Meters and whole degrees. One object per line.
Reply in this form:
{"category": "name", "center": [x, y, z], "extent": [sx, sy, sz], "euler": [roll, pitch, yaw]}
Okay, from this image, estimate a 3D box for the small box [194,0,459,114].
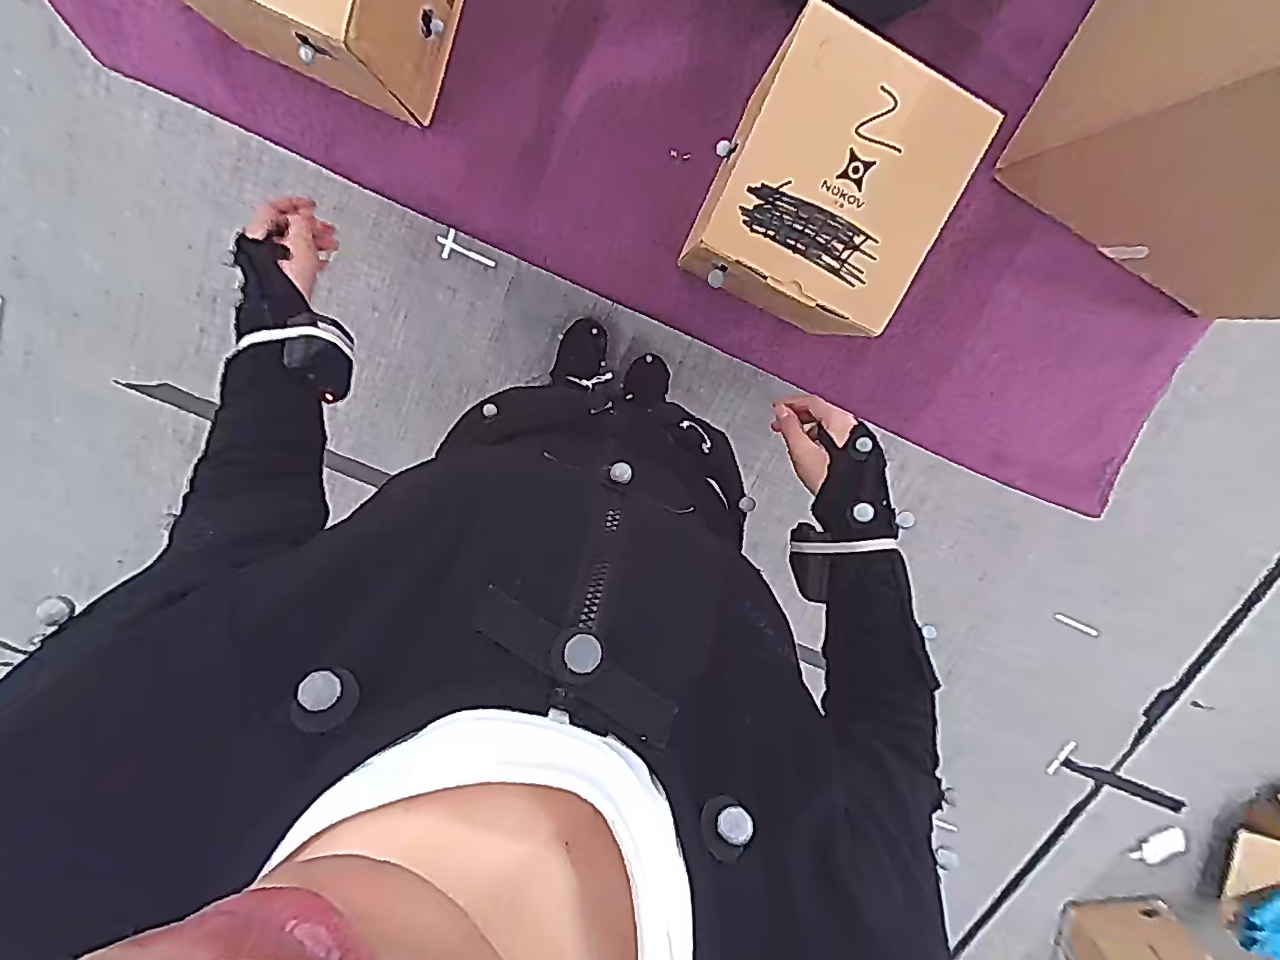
{"category": "small box", "center": [-0.253, -0.421, 0.411], "extent": [0.179, 0.176, 0.168], "euler": [20, 104, -10]}
